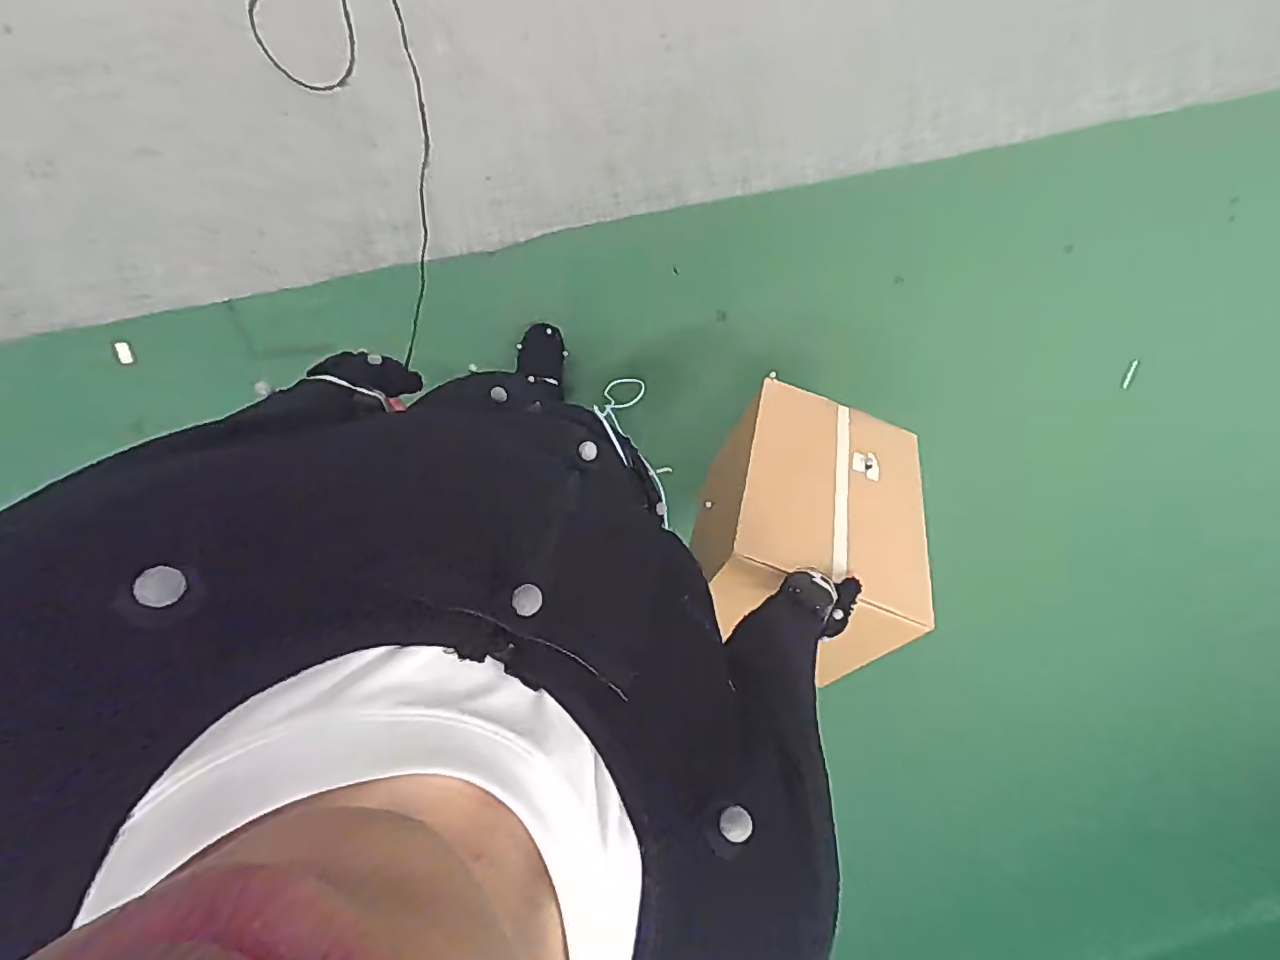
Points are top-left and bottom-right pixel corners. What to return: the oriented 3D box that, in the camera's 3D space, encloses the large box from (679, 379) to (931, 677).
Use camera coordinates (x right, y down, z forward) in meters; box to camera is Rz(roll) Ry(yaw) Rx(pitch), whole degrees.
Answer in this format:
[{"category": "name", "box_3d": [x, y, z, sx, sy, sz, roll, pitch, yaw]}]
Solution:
[{"category": "large box", "box_3d": [0.293, 0.094, 1.018, 0.320, 0.408, 0.320, 21, 141, -3]}]
